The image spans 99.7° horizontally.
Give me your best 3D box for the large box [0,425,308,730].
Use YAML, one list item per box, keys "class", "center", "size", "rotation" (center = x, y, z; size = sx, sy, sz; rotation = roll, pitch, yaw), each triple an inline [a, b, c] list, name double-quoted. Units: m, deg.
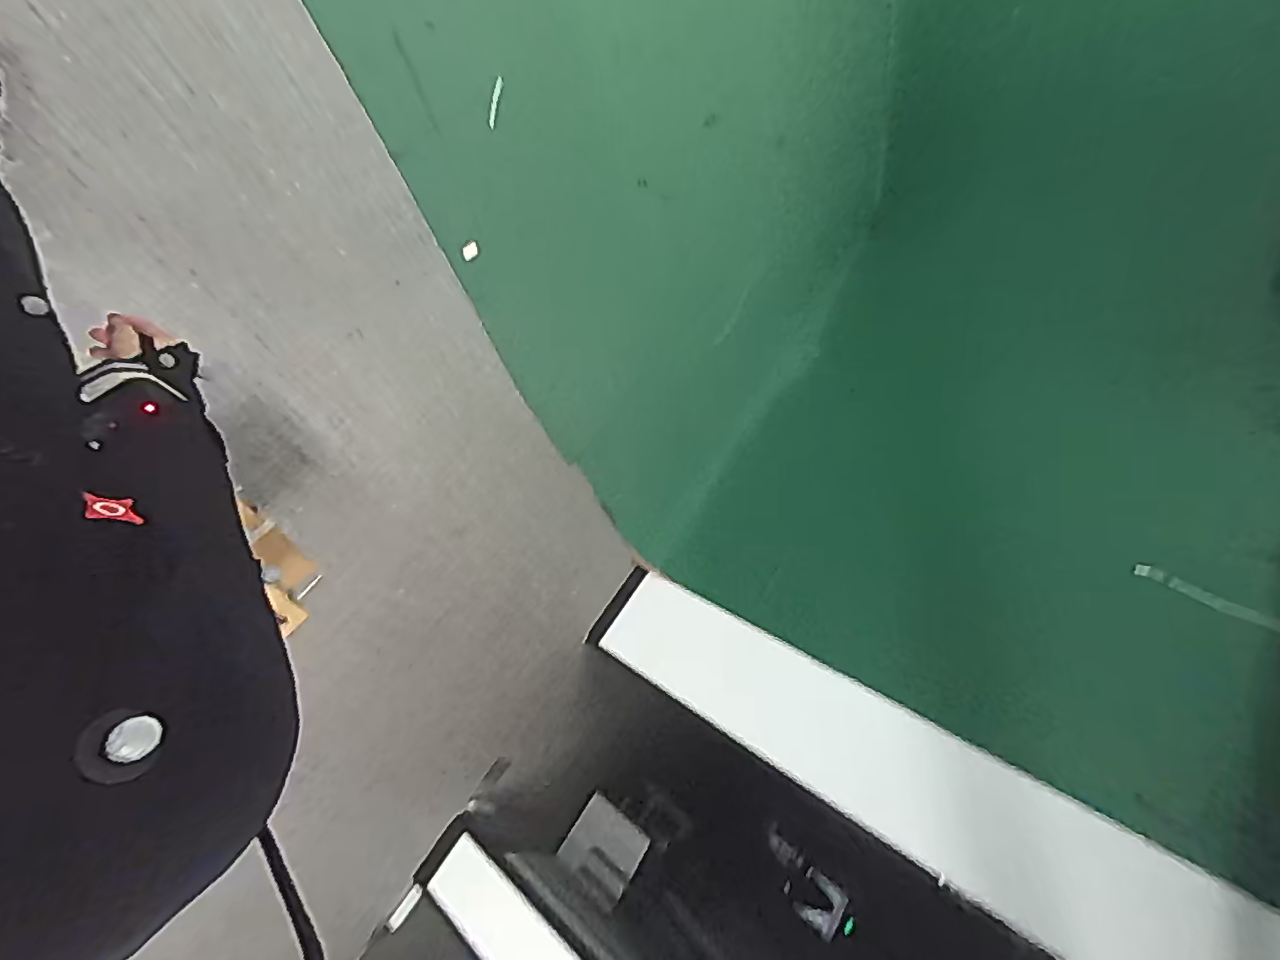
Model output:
- class: "large box"
  center: [-0.959, 0.167, 1.026]
  size: [0.408, 0.320, 0.320]
  rotation: [-47, 143, -26]
